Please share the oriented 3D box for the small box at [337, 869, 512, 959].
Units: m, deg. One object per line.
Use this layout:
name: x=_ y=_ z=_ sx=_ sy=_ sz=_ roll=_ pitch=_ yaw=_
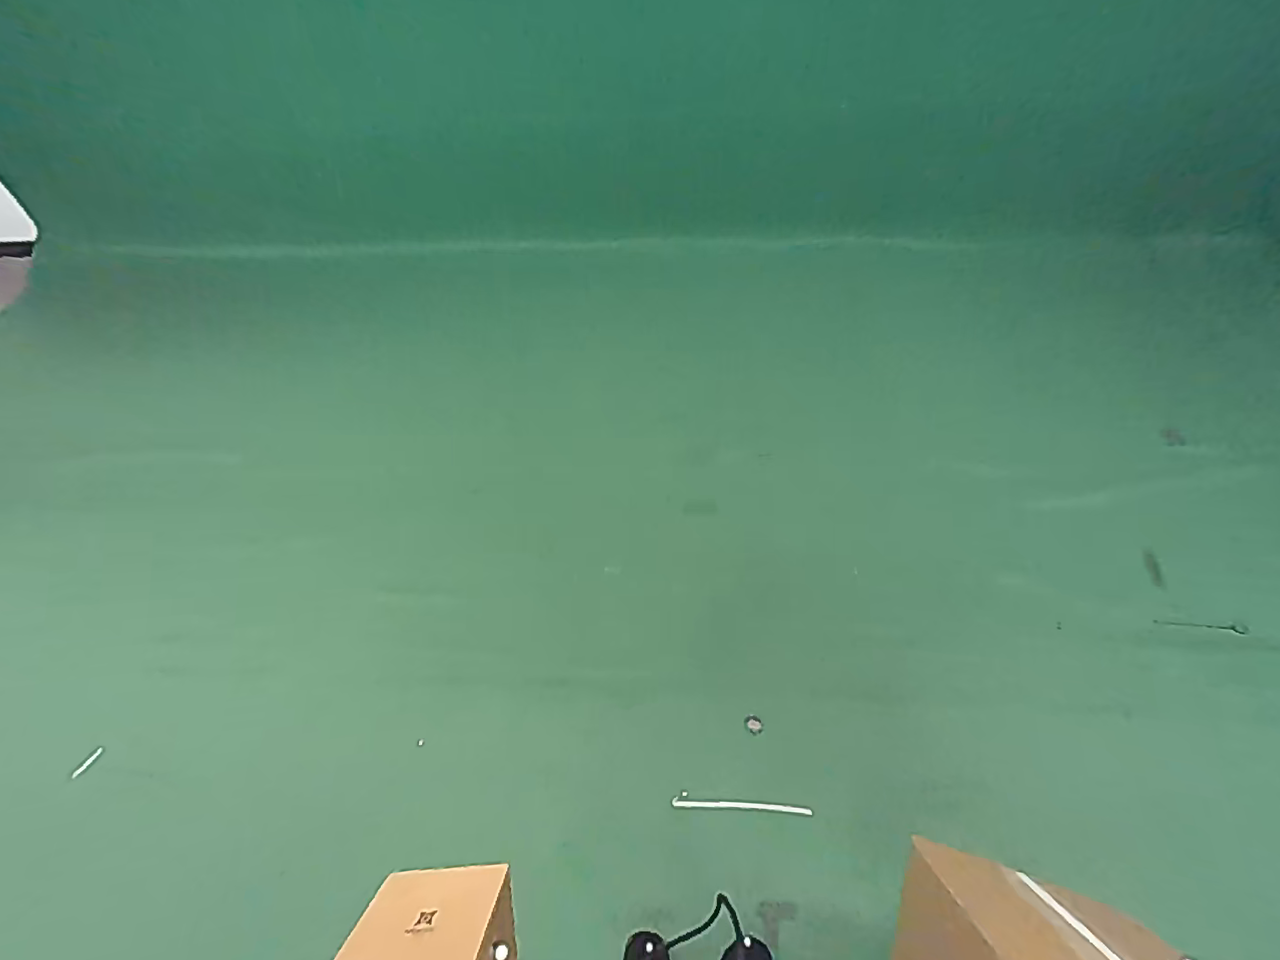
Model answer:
small box: x=-0.255 y=0.618 z=0.652 sx=0.168 sy=0.179 sz=0.176 roll=-5 pitch=92 yaw=0
